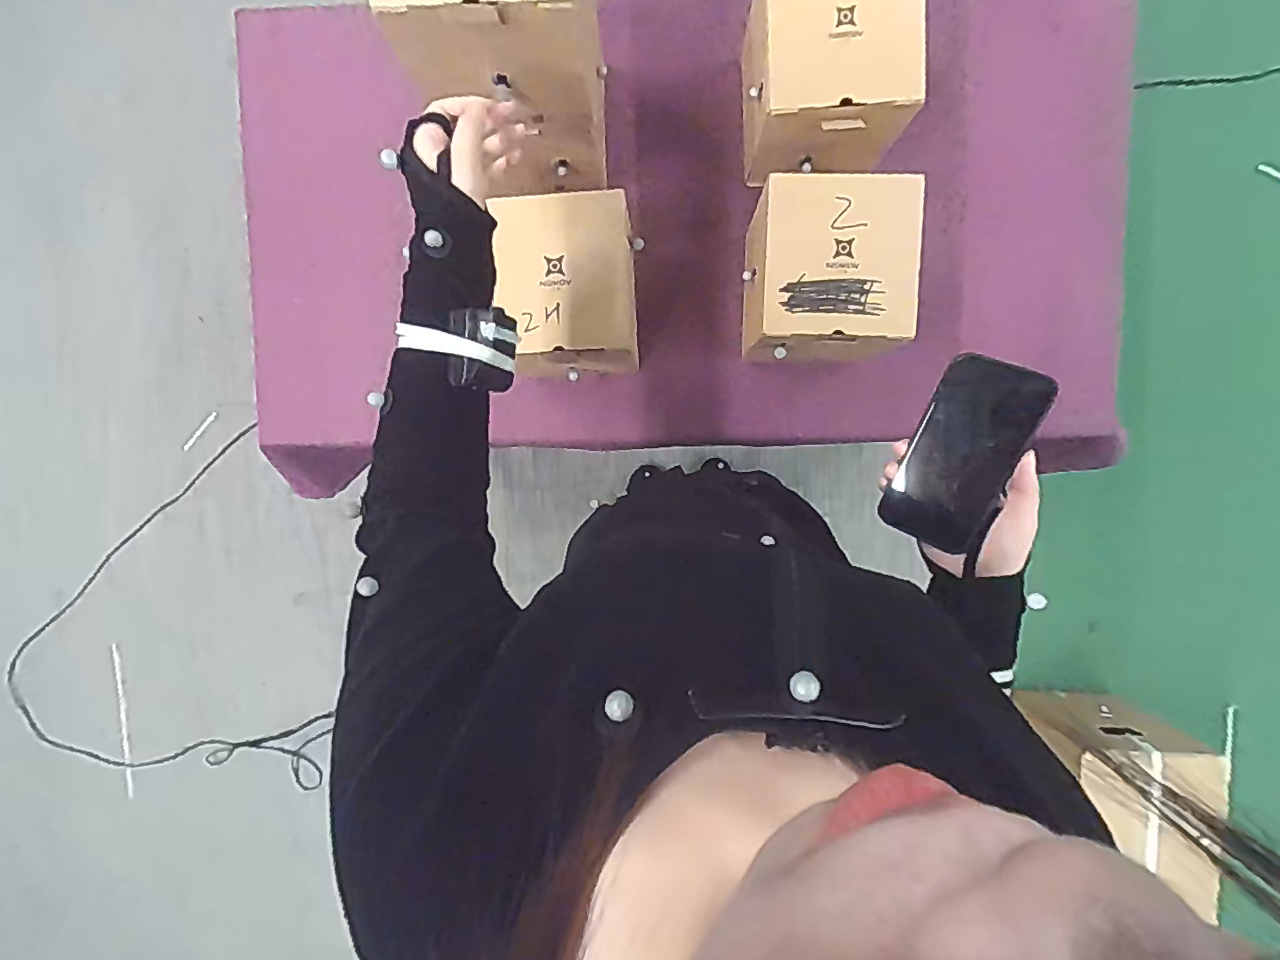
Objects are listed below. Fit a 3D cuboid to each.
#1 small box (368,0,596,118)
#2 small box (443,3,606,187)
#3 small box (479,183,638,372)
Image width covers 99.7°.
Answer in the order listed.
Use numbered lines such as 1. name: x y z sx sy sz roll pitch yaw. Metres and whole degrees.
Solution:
1. small box: -0.131 -0.464 0.496 0.168 0.176 0.179 0 95 2
2. small box: -0.131 -0.478 0.660 0.168 0.176 0.179 0 94 2
3. small box: -0.090 -0.238 0.675 0.168 0.176 0.179 -3 94 3
